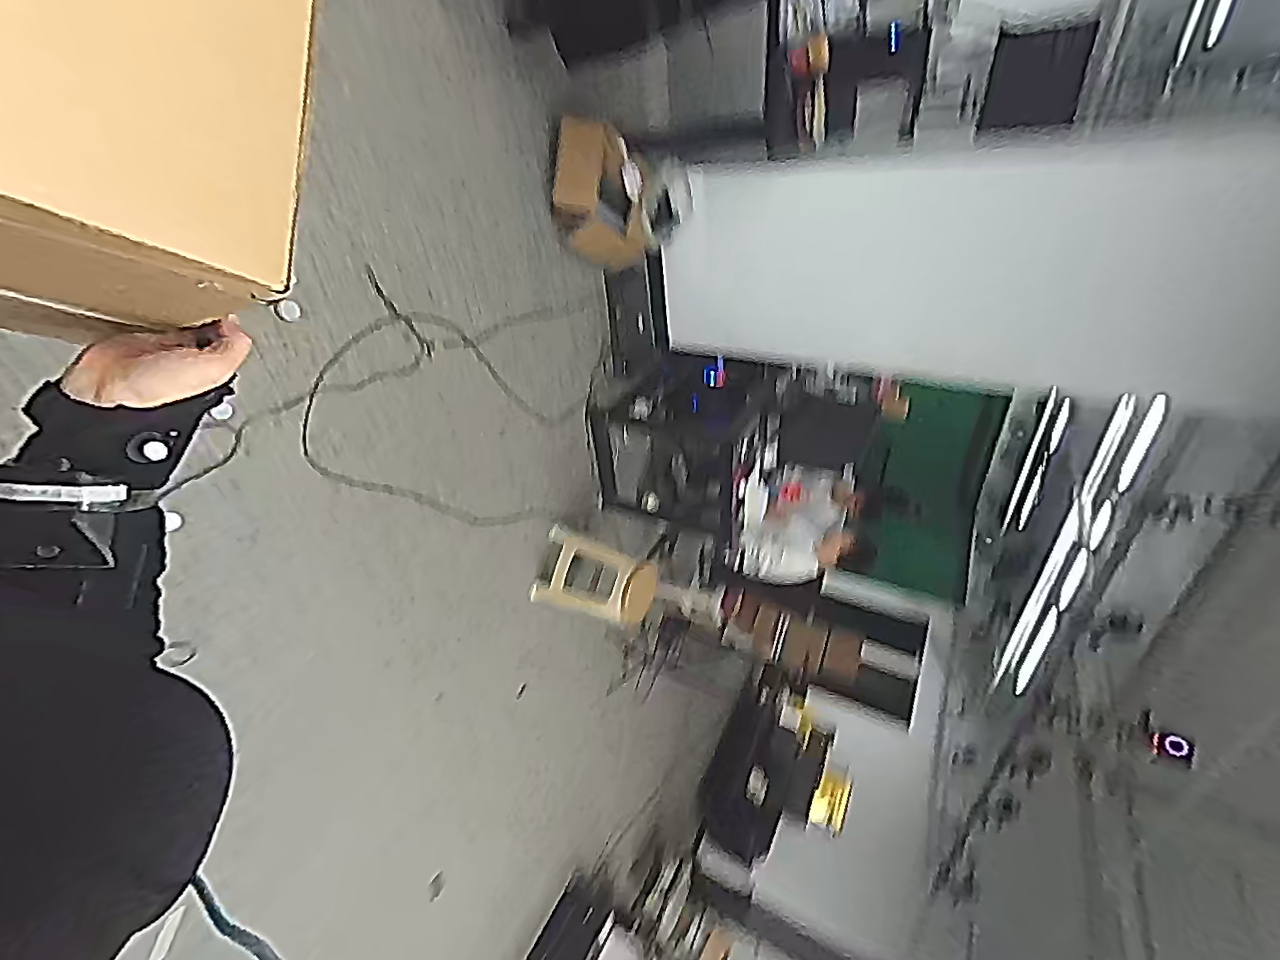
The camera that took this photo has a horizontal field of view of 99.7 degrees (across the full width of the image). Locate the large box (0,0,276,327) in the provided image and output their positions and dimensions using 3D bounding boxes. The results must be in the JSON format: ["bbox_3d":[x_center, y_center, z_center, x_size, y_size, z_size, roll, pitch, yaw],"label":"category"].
[{"bbox_3d":[-0.420,-0.274,0.193,0.408,0.320,0.320,3,91,-57],"label":"large box"}]
